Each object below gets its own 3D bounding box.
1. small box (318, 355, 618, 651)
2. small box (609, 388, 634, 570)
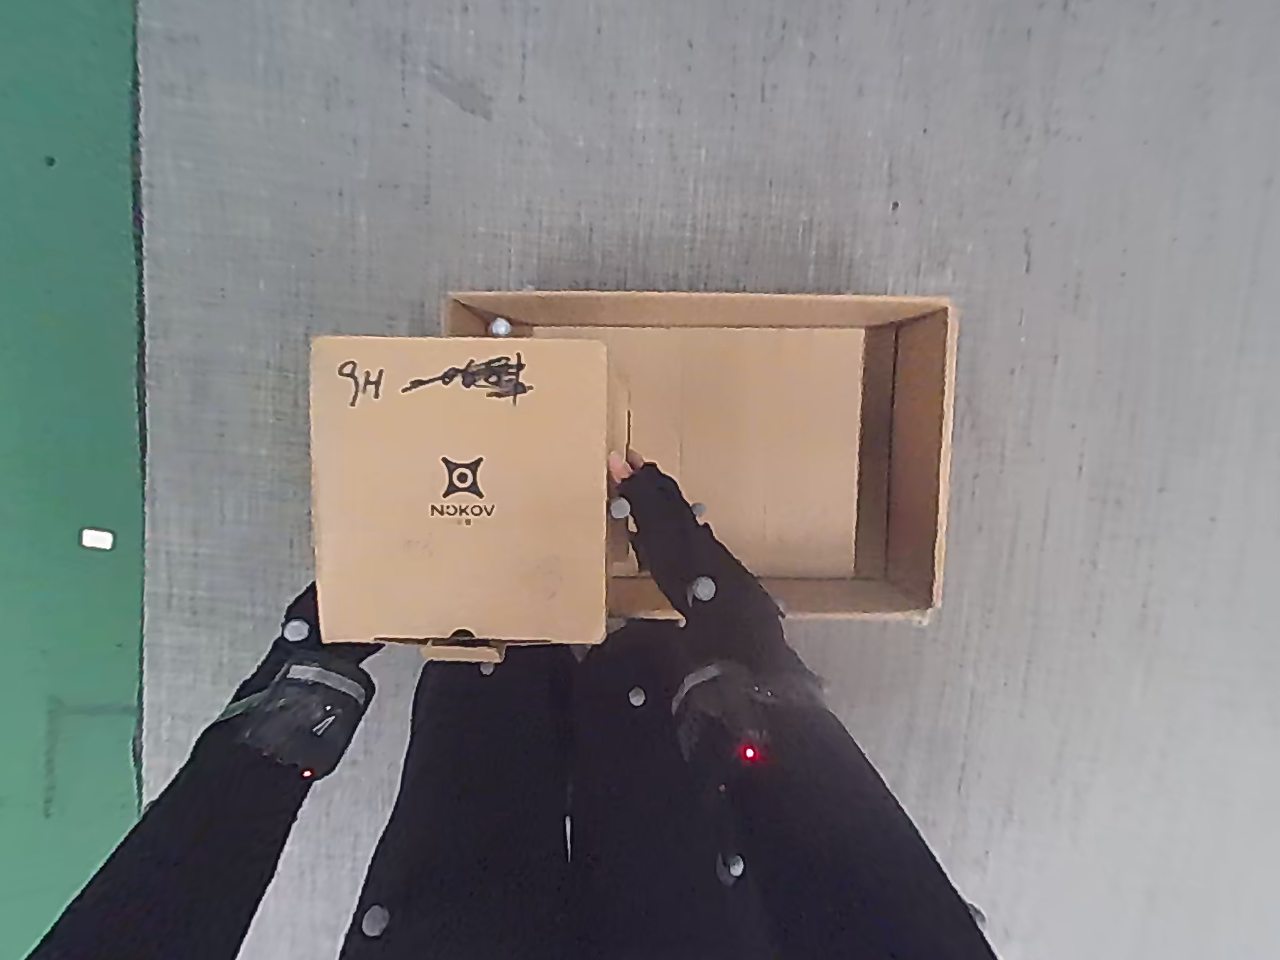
[{"bbox_3d":[-0.102,0.008,0.396,0.168,0.176,0.179,0,95,0],"label":"small box"},{"bbox_3d":[-0.095,-0.009,0.558,0.179,0.176,0.168,1,94,1],"label":"small box"}]
